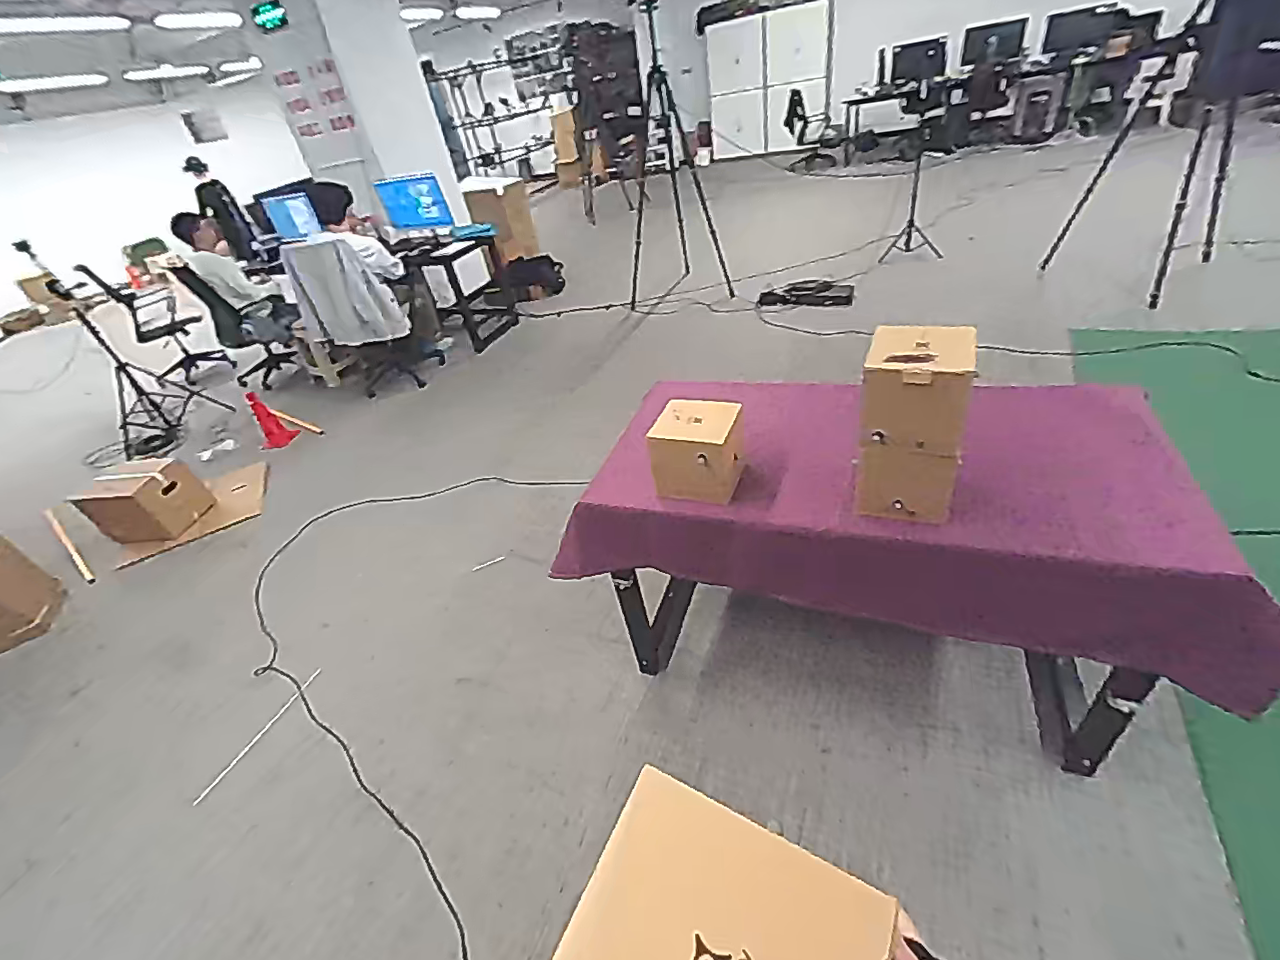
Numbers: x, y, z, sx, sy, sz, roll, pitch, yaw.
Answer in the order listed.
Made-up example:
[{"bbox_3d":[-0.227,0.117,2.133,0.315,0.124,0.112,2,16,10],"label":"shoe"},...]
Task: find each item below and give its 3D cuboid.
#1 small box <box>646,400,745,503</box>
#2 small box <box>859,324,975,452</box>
[{"bbox_3d":[0.136,-0.065,1.237,0.179,0.176,0.168,7,40,24],"label":"small box"},{"bbox_3d":[0.499,-0.168,0.983,0.168,0.176,0.179,8,41,27],"label":"small box"}]
